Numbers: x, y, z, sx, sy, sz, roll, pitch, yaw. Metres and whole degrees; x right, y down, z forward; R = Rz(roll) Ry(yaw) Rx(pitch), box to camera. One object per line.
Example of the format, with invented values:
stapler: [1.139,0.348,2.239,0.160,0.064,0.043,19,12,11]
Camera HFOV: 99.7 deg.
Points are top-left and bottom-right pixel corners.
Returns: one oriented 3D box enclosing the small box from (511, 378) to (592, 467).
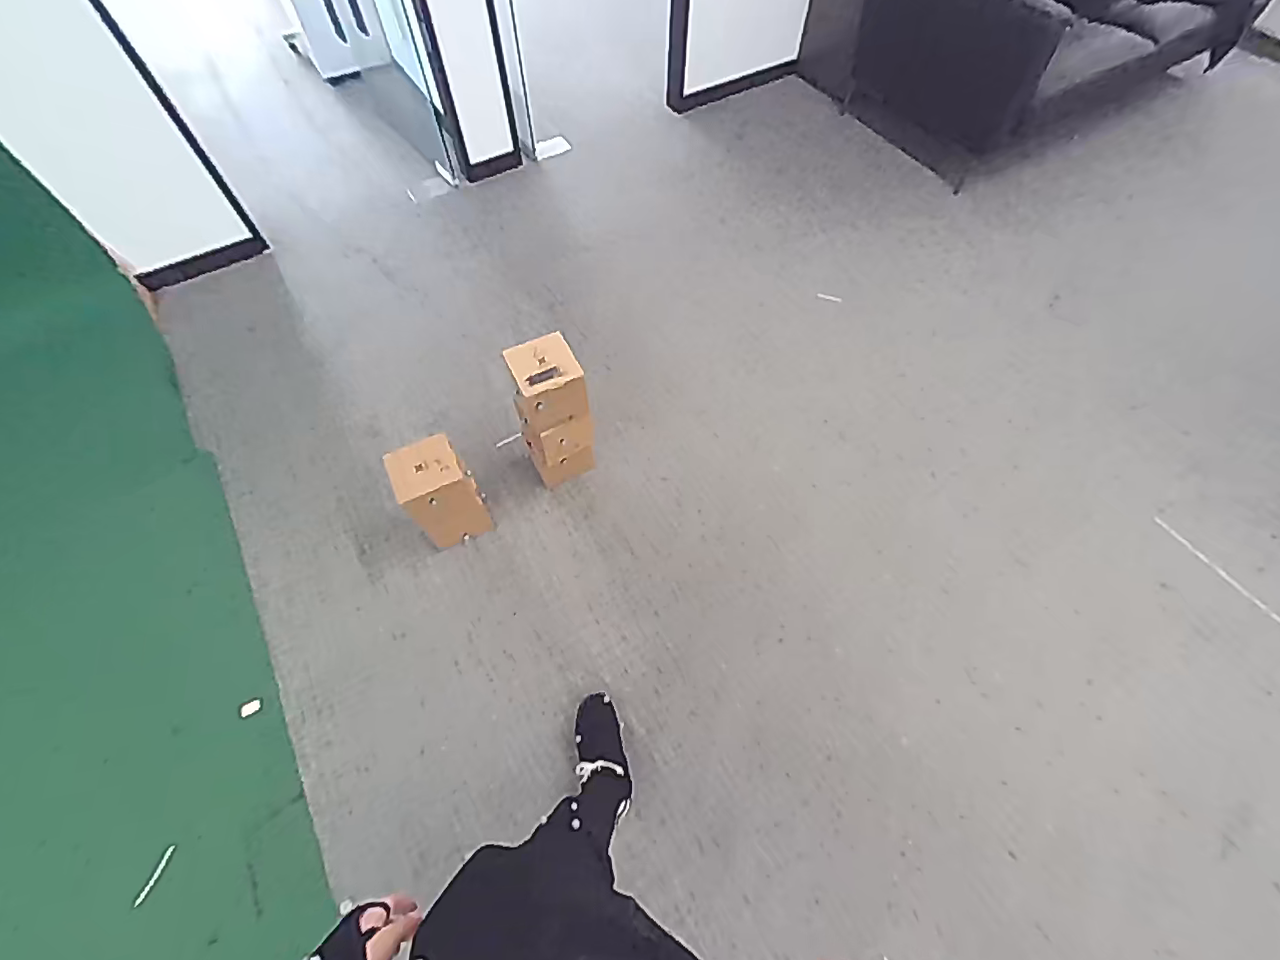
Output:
small box: [-0.255,-0.161,1.604,0.168,0.176,0.179,-30,64,-16]

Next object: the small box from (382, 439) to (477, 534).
small box: [-0.575,0.024,1.492,0.179,0.176,0.168,-24,64,-14]

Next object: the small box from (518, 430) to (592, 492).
small box: [-0.270,-0.089,1.749,0.179,0.176,0.168,-26,64,-16]

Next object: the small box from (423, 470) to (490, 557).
small box: [-0.570,0.104,1.637,0.179,0.176,0.168,-25,63,-14]
